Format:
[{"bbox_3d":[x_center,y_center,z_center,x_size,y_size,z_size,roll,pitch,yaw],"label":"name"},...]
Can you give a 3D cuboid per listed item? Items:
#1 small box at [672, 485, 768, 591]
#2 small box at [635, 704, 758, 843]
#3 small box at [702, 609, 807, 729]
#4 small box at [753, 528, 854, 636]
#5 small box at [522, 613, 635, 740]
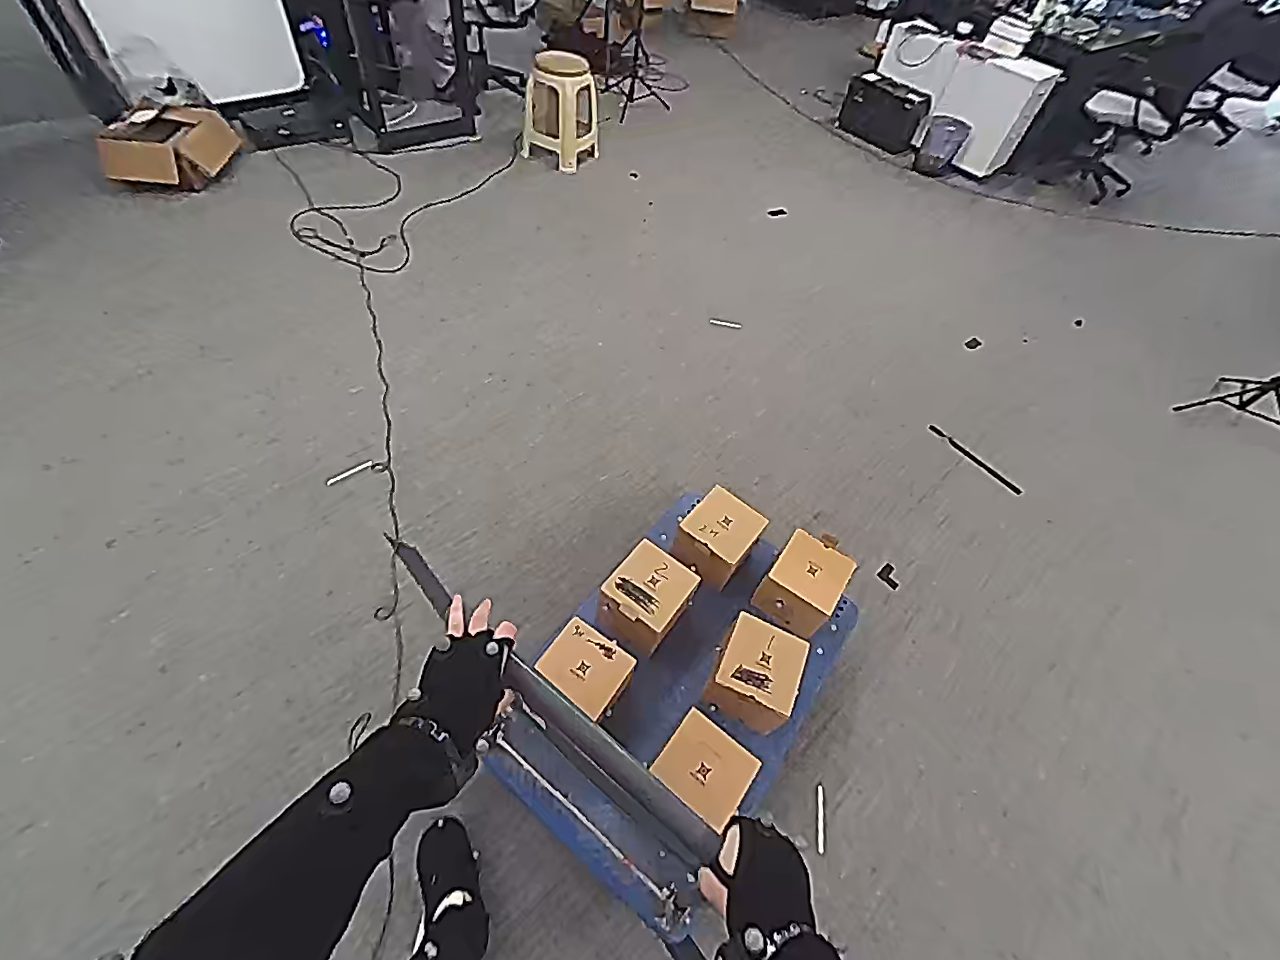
[{"bbox_3d":[0.201,0.154,1.415,0.168,0.176,0.179,37,57,18],"label":"small box"},{"bbox_3d":[0.104,0.592,1.081,0.168,0.176,0.179,36,56,16],"label":"small box"},{"bbox_3d":[0.251,0.432,1.220,0.168,0.176,0.179,26,54,10],"label":"small box"},{"bbox_3d":[0.405,0.263,1.370,0.168,0.176,0.179,33,56,15],"label":"small box"},{"bbox_3d":[-0.131,0.427,1.162,0.168,0.176,0.179,33,56,14],"label":"small box"}]
